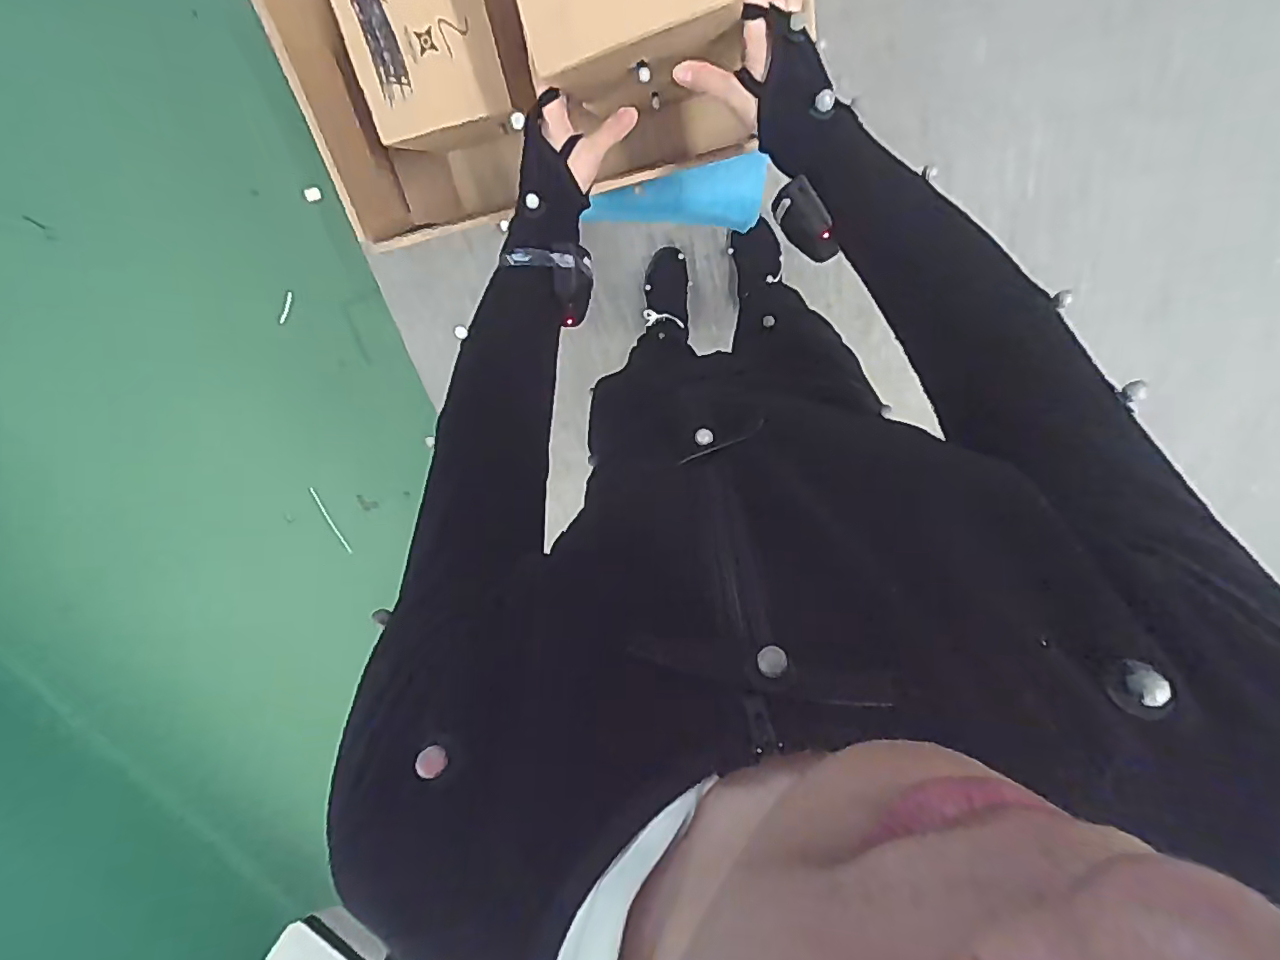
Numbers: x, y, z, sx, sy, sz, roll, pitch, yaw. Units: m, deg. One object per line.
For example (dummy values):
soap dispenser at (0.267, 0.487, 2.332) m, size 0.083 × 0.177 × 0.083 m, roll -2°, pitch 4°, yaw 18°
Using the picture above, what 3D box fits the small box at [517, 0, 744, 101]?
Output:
small box at (-0.009, -0.460, 0.468) m, size 0.179 × 0.176 × 0.168 m, roll -8°, pitch 114°, yaw 18°
